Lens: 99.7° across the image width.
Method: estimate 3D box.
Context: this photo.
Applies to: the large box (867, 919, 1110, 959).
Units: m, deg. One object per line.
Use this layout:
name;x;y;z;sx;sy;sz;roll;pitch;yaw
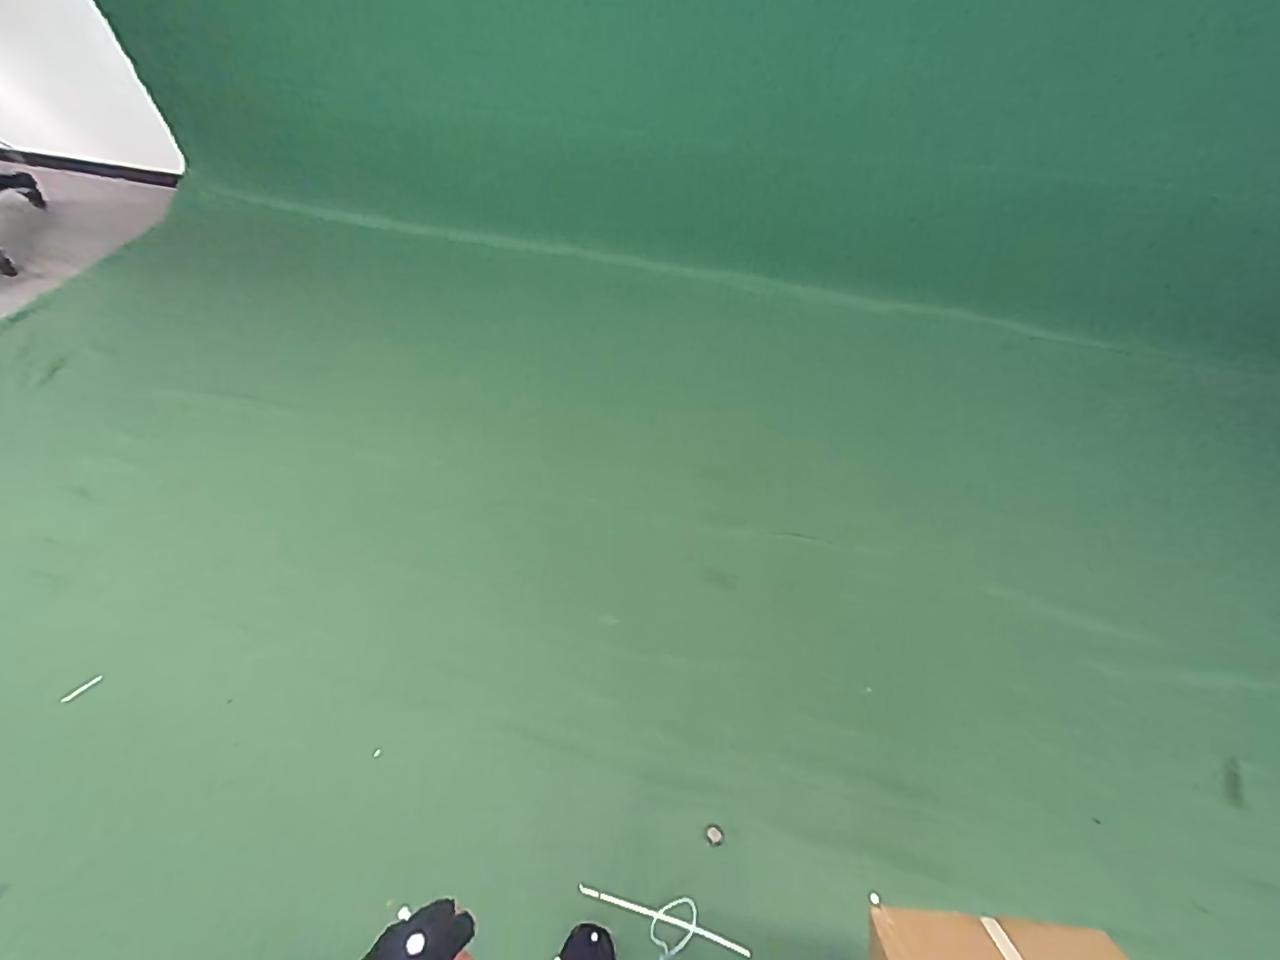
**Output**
large box;0.455;0.779;0.561;0.320;0.408;0.320;2;89;6
